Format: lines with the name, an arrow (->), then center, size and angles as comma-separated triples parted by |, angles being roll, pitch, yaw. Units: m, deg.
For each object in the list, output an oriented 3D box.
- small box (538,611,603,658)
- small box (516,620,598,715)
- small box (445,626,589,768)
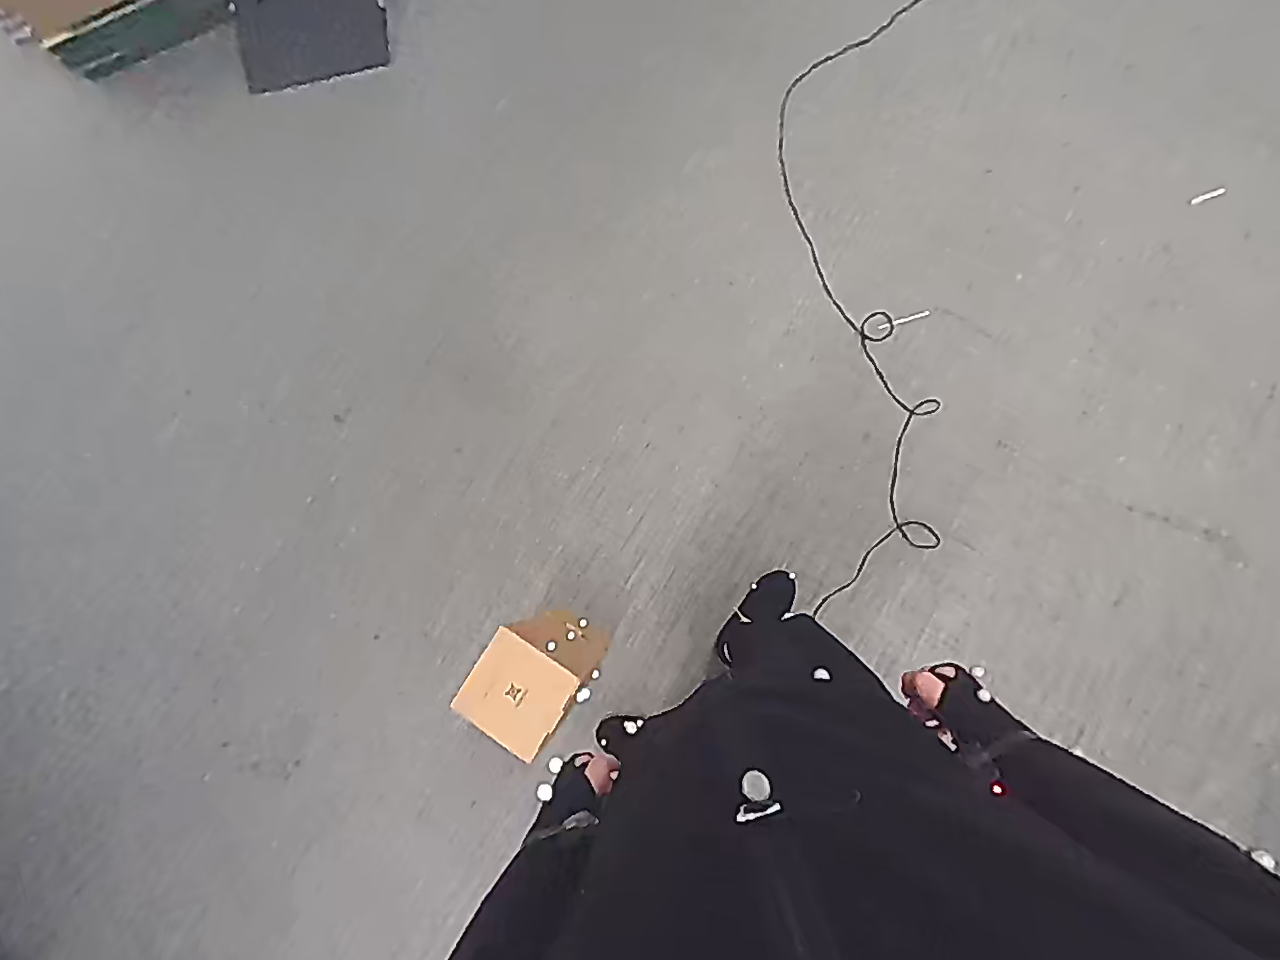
small box -> -0.204, 0.443, 1.343 | 0.168, 0.176, 0.179 | 30, 84, 8
small box -> -0.213, 0.415, 1.159 | 0.179, 0.176, 0.168 | 34, 86, 9
small box -> -0.215, 0.386, 1.002 | 0.179, 0.176, 0.168 | 32, 83, 9
